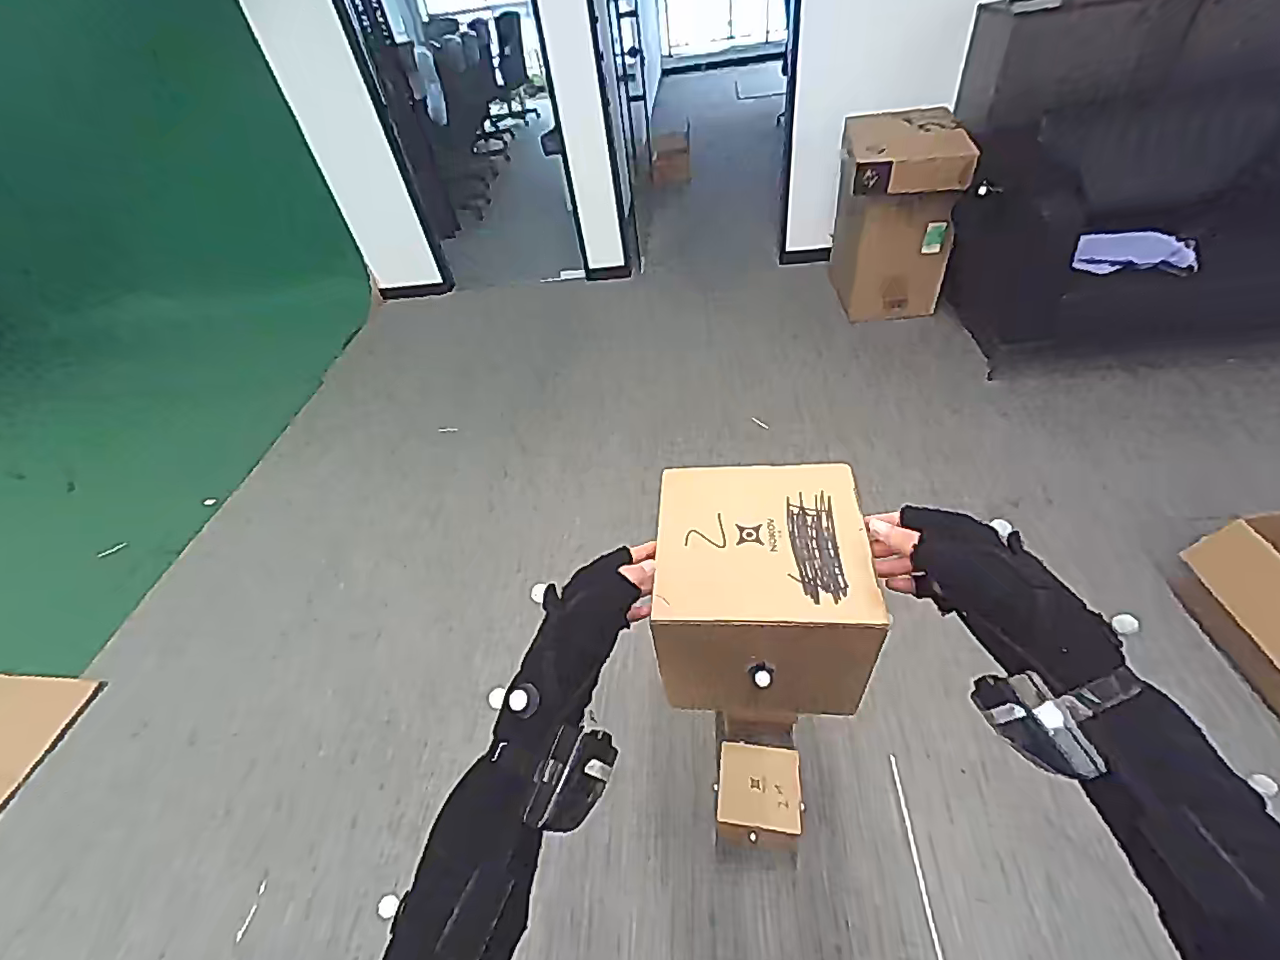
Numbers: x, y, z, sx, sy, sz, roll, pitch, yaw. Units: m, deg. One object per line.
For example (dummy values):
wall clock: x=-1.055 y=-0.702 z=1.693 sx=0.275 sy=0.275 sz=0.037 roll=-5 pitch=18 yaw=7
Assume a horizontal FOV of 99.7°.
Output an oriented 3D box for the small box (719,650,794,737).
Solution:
small box: x=0.303 y=0.553 z=1.406 sx=0.179 sy=0.176 sz=0.168 roll=-5 pitch=44 yaw=4

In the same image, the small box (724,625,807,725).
small box: x=0.286 y=0.459 z=1.268 sx=0.179 sy=0.176 sz=0.168 roll=-1 pitch=45 yaw=10

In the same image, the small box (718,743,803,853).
small box: x=0.274 y=0.726 z=1.231 sx=0.179 sy=0.176 sz=0.168 roll=2 pitch=45 yaw=12
